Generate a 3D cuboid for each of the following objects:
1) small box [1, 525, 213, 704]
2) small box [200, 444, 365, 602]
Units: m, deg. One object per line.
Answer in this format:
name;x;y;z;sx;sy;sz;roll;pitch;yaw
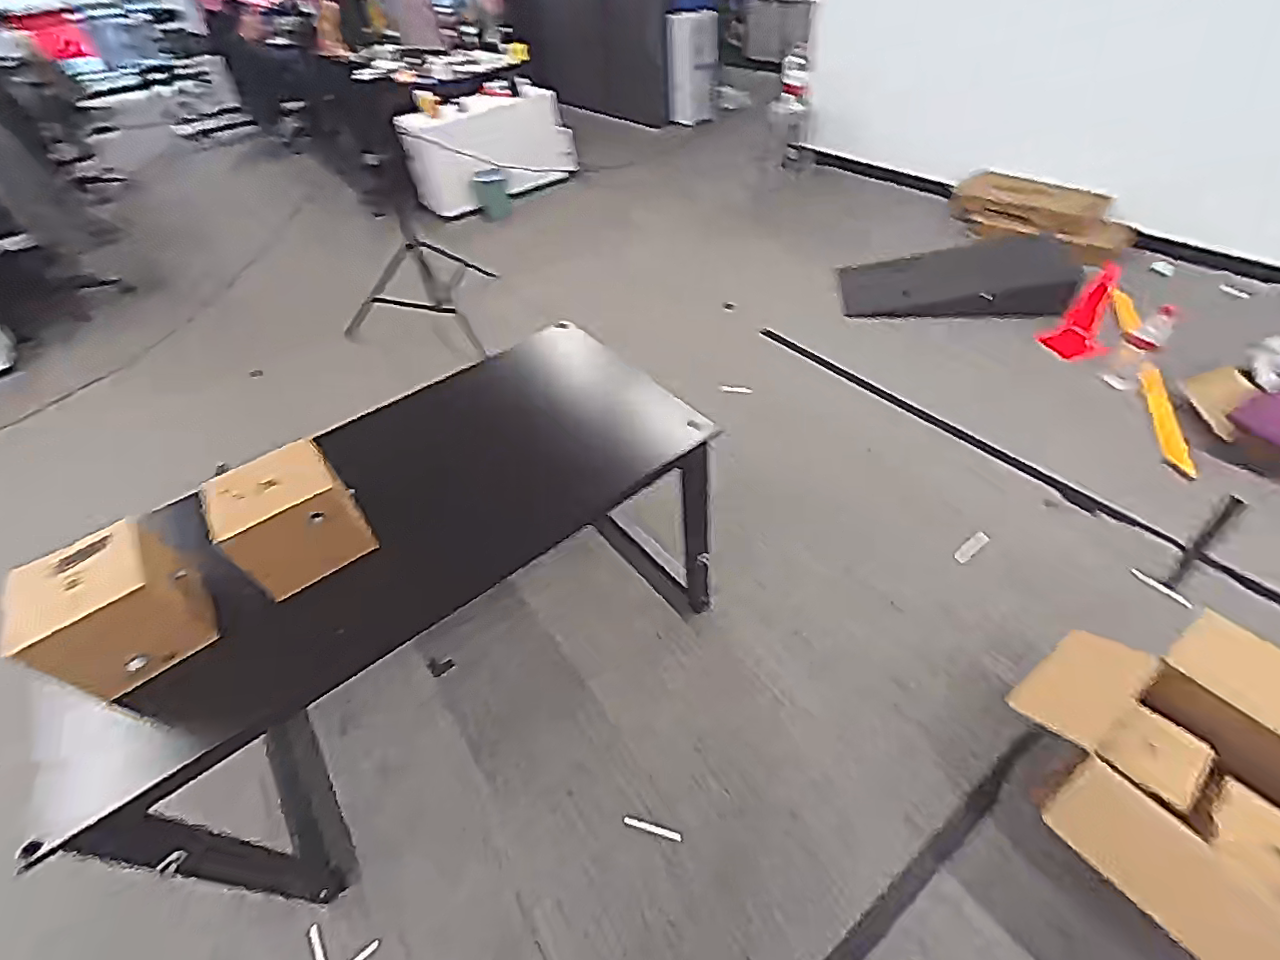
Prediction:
small box;-0.818;0.211;0.843;0.168;0.176;0.179;-34;53;-23
small box;-0.610;0.075;0.944;0.179;0.176;0.168;-33;51;-21
